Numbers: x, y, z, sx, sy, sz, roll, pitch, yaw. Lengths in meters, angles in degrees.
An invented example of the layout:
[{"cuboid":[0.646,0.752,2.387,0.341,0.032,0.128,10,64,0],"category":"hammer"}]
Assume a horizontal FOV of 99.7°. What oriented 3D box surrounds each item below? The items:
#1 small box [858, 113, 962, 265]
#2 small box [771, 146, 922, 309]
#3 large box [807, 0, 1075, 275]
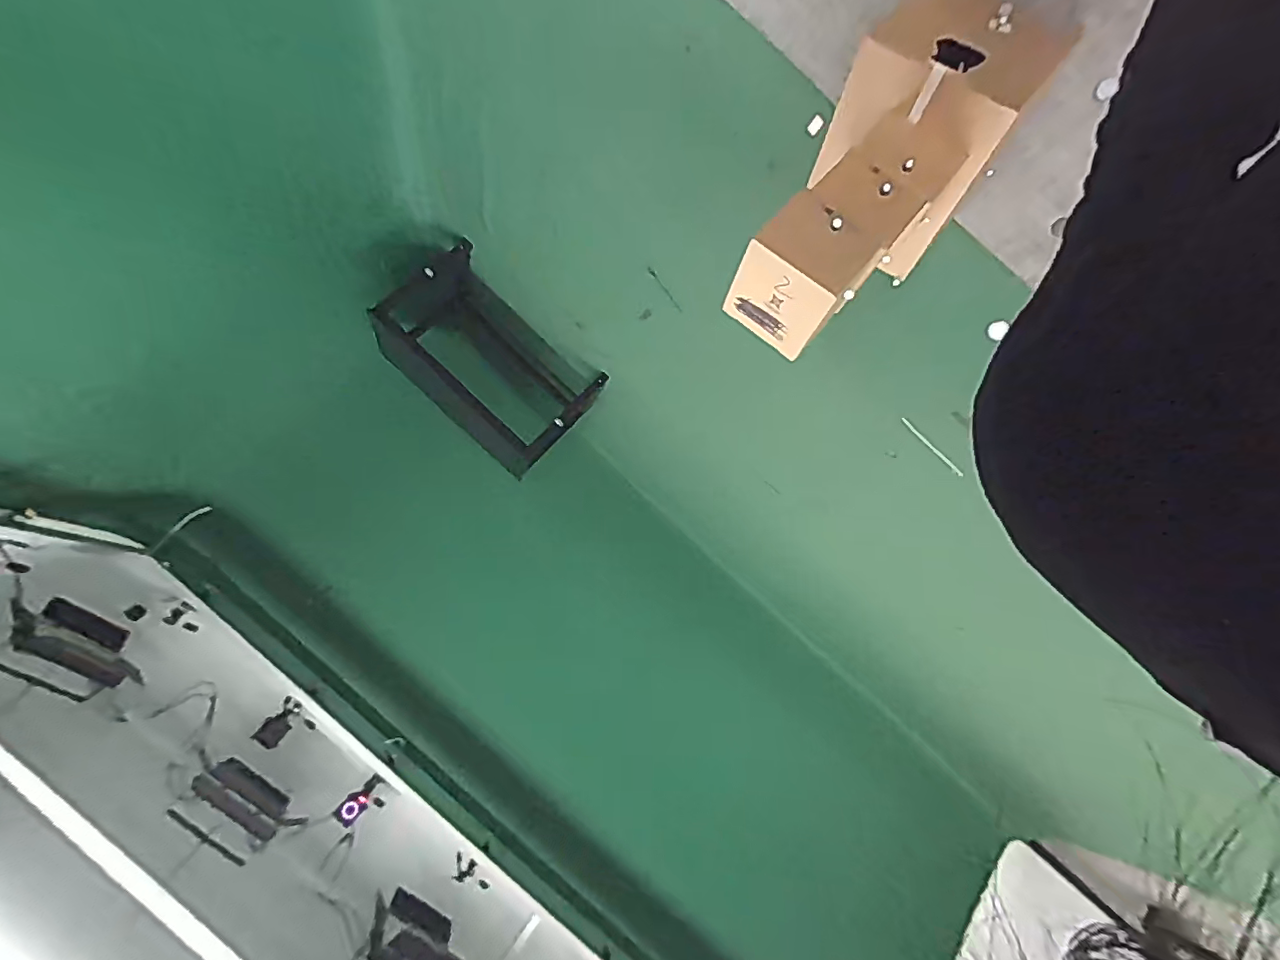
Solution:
[{"cuboid":[0.484,-0.572,1.059,0.179,0.176,0.168,38,159,7],"category":"small box"},{"cuboid":[0.379,-0.463,1.000,0.168,0.176,0.179,39,159,6],"category":"small box"},{"cuboid":[0.609,-0.753,1.175,0.320,0.320,0.408,38,161,13],"category":"large box"}]
